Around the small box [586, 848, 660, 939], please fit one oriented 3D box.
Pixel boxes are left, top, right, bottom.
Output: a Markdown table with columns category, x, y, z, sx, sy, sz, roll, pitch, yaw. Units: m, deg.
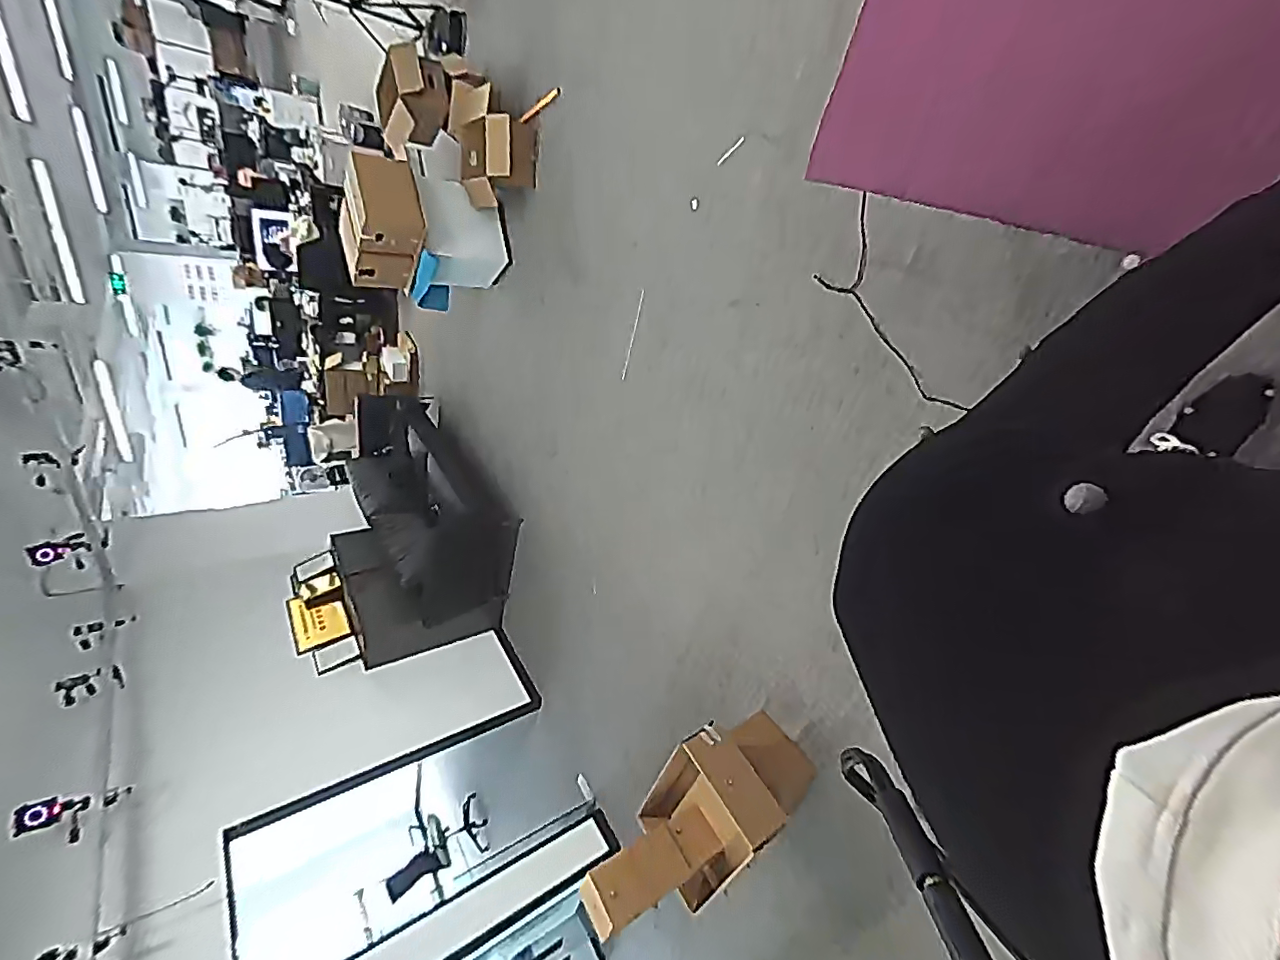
| category | x | y | z | sx | sy | sz | roll | pitch | yaw |
| --- | --- | --- | --- | --- | --- | --- | --- | --- | --- |
| small box | -0.059 | 1.410 | 1.860 | 0.179 | 0.176 | 0.168 | 47 | 133 | 37 |
